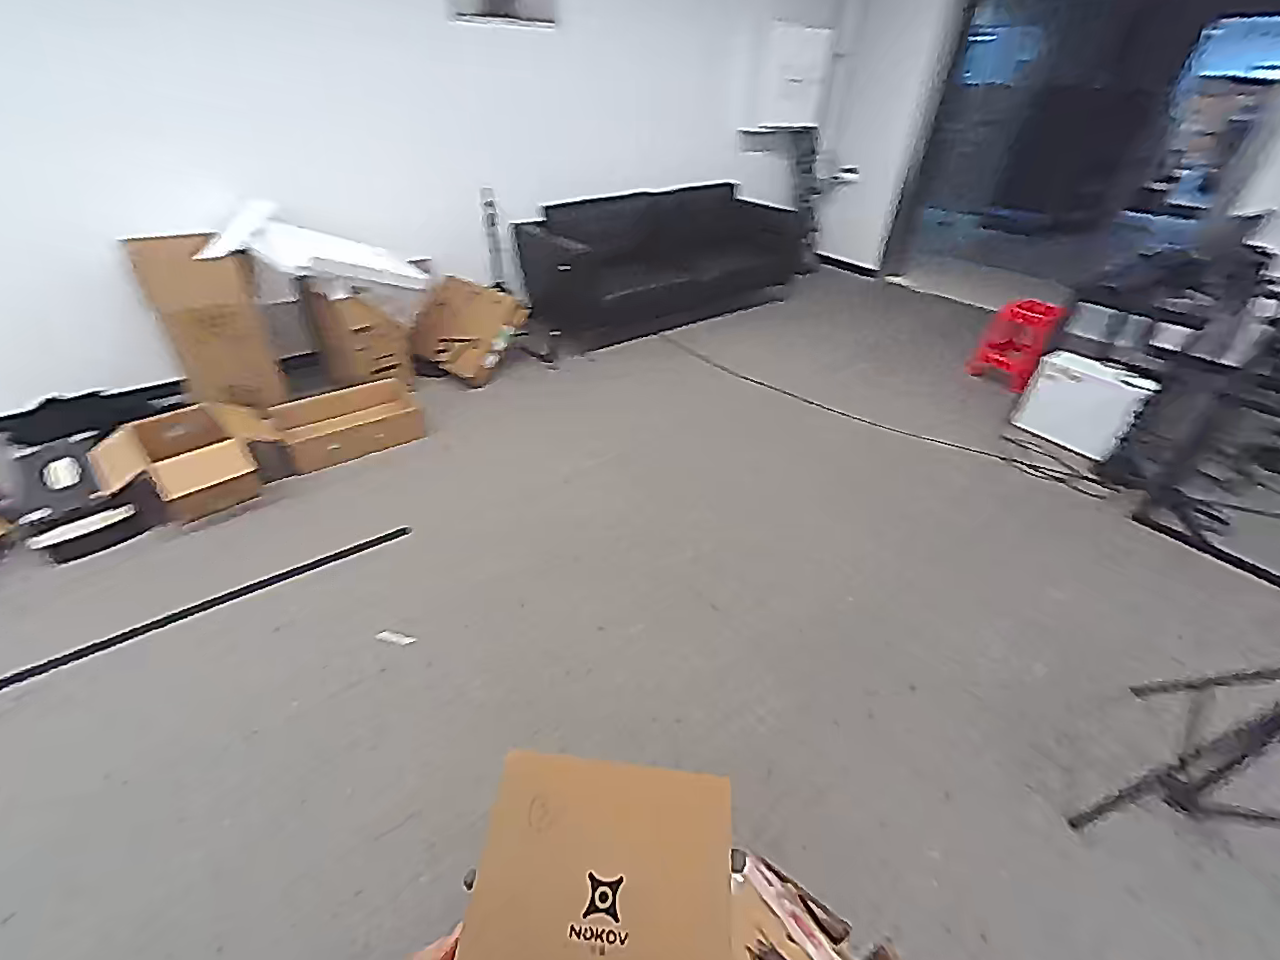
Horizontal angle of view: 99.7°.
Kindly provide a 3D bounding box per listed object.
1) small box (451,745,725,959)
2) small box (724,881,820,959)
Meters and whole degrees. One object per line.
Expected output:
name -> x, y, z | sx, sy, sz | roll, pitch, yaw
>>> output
small box -> -0.033, 0.321, 0.399 | 0.168, 0.176, 0.179 | 6, 49, 1
small box -> 0.139, 0.681, 0.698 | 0.179, 0.176, 0.168 | -28, 44, -28
